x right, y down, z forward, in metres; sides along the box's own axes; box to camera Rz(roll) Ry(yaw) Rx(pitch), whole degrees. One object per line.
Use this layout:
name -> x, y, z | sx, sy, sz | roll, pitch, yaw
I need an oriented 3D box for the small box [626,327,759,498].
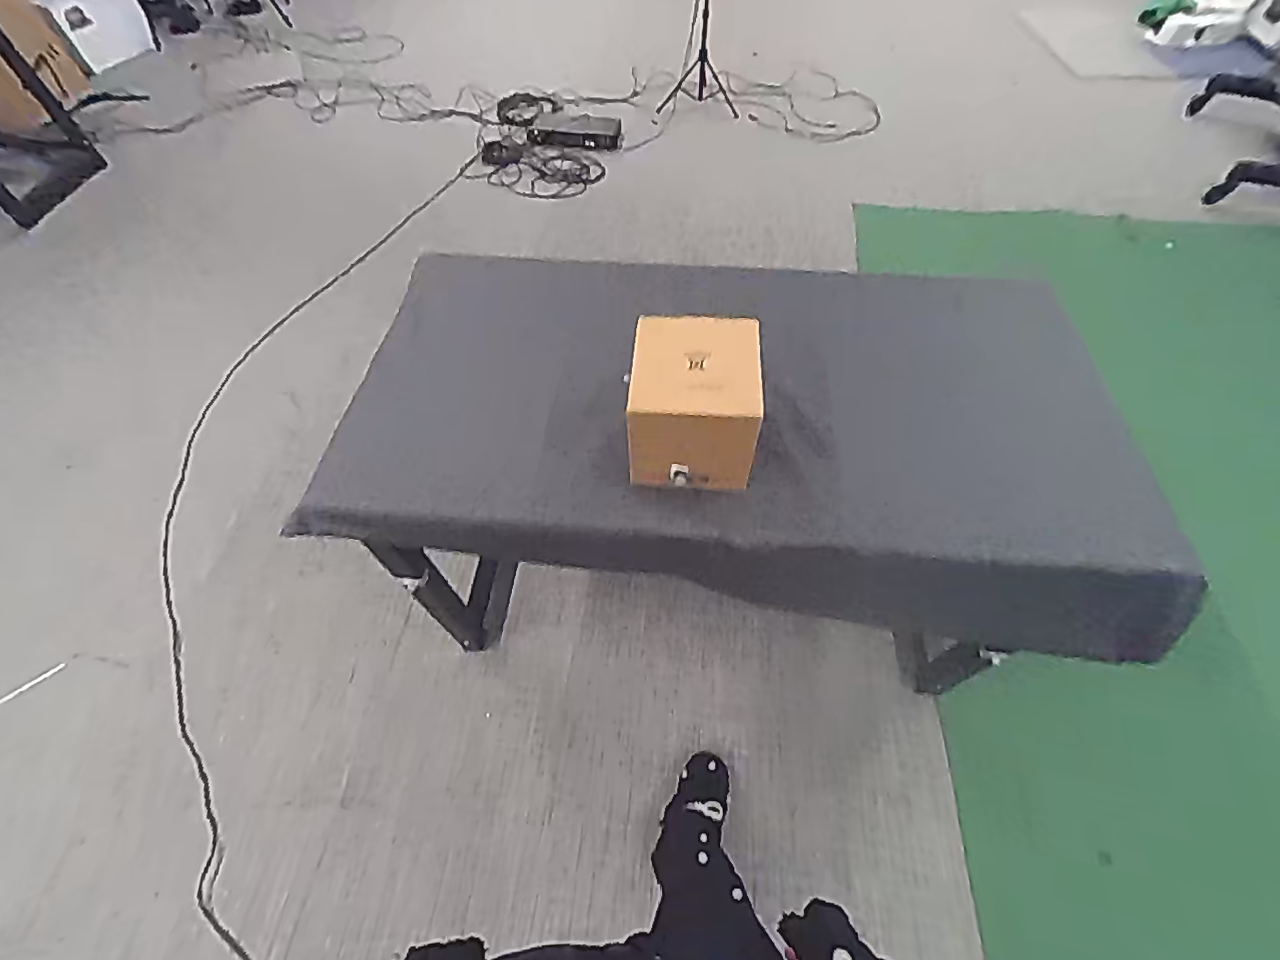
small box -> 0.072, -0.094, 0.766 | 0.168, 0.176, 0.179 | 1, 56, 4
